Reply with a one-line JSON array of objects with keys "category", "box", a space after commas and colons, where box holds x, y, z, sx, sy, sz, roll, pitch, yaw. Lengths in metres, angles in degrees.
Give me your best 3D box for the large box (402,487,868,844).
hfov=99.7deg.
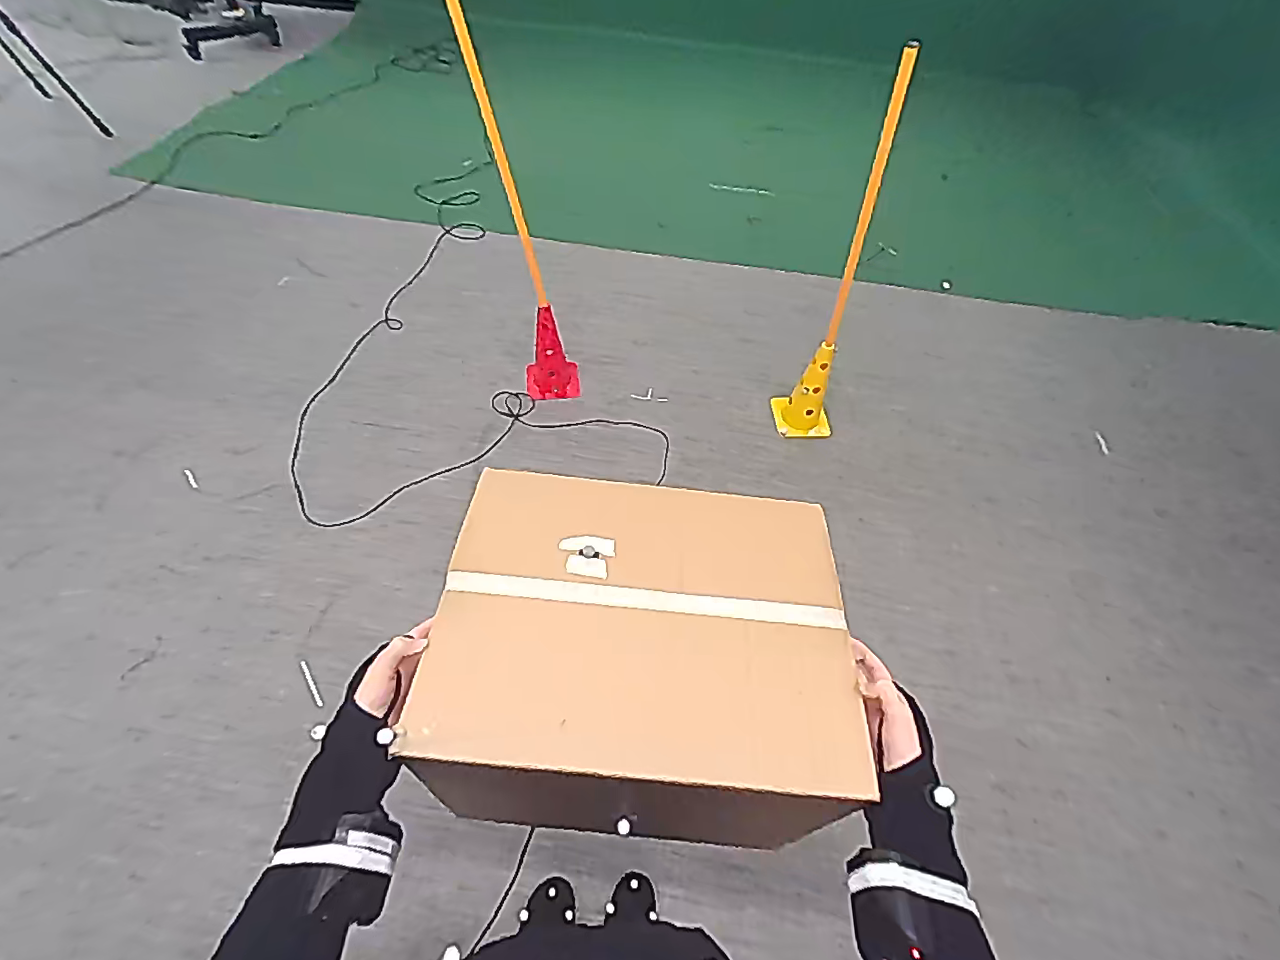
[{"category": "large box", "box": [-0.003, 0.236, 0.663, 0.408, 0.320, 0.320, 6, 49, -1]}]
